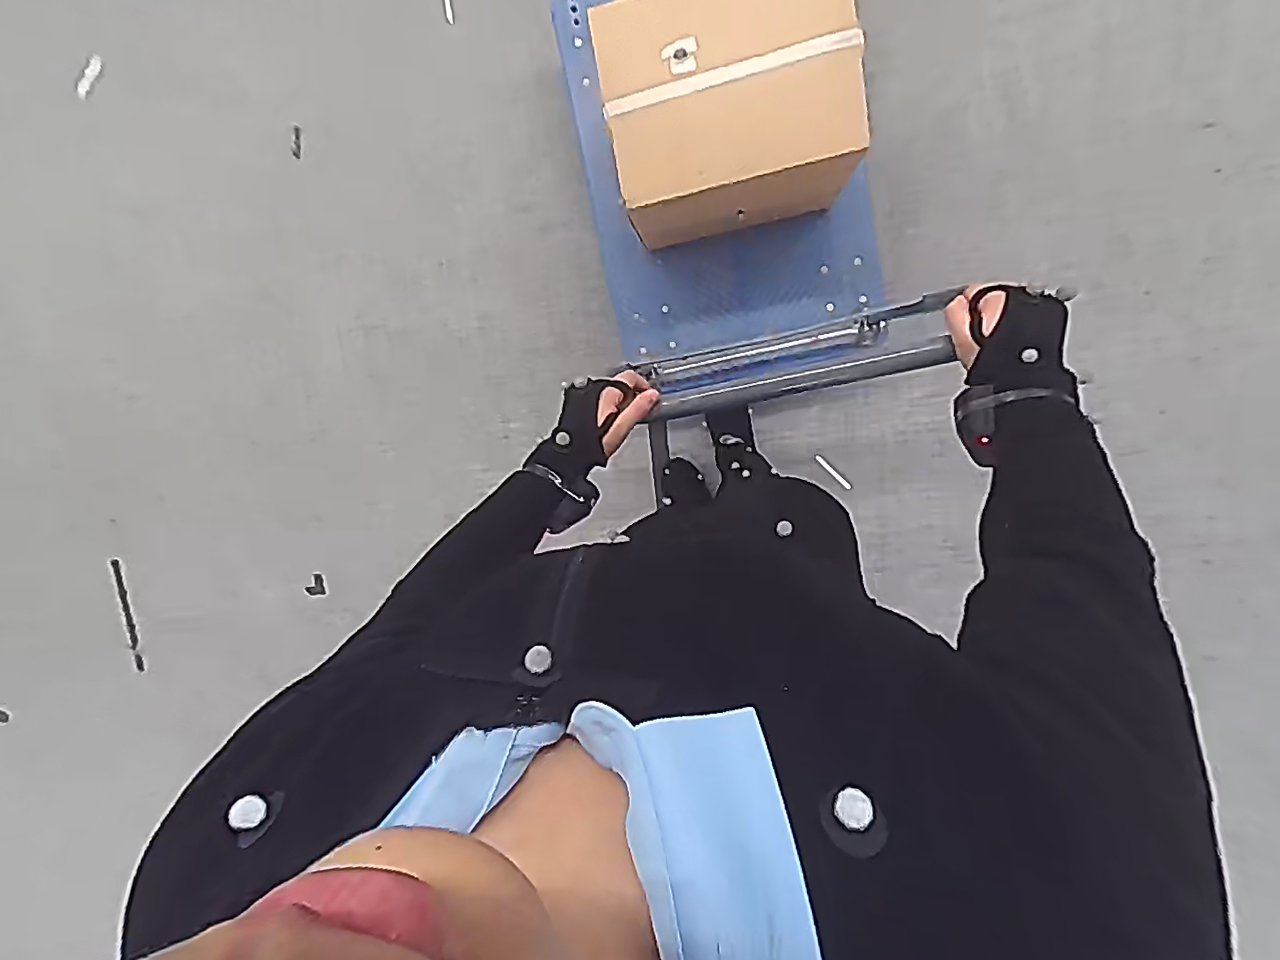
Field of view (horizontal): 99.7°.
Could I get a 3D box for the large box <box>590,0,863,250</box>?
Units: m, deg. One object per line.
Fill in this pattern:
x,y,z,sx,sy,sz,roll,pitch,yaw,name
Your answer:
0.160,-0.671,1.024,0.408,0.320,0.320,-10,98,10,large box
